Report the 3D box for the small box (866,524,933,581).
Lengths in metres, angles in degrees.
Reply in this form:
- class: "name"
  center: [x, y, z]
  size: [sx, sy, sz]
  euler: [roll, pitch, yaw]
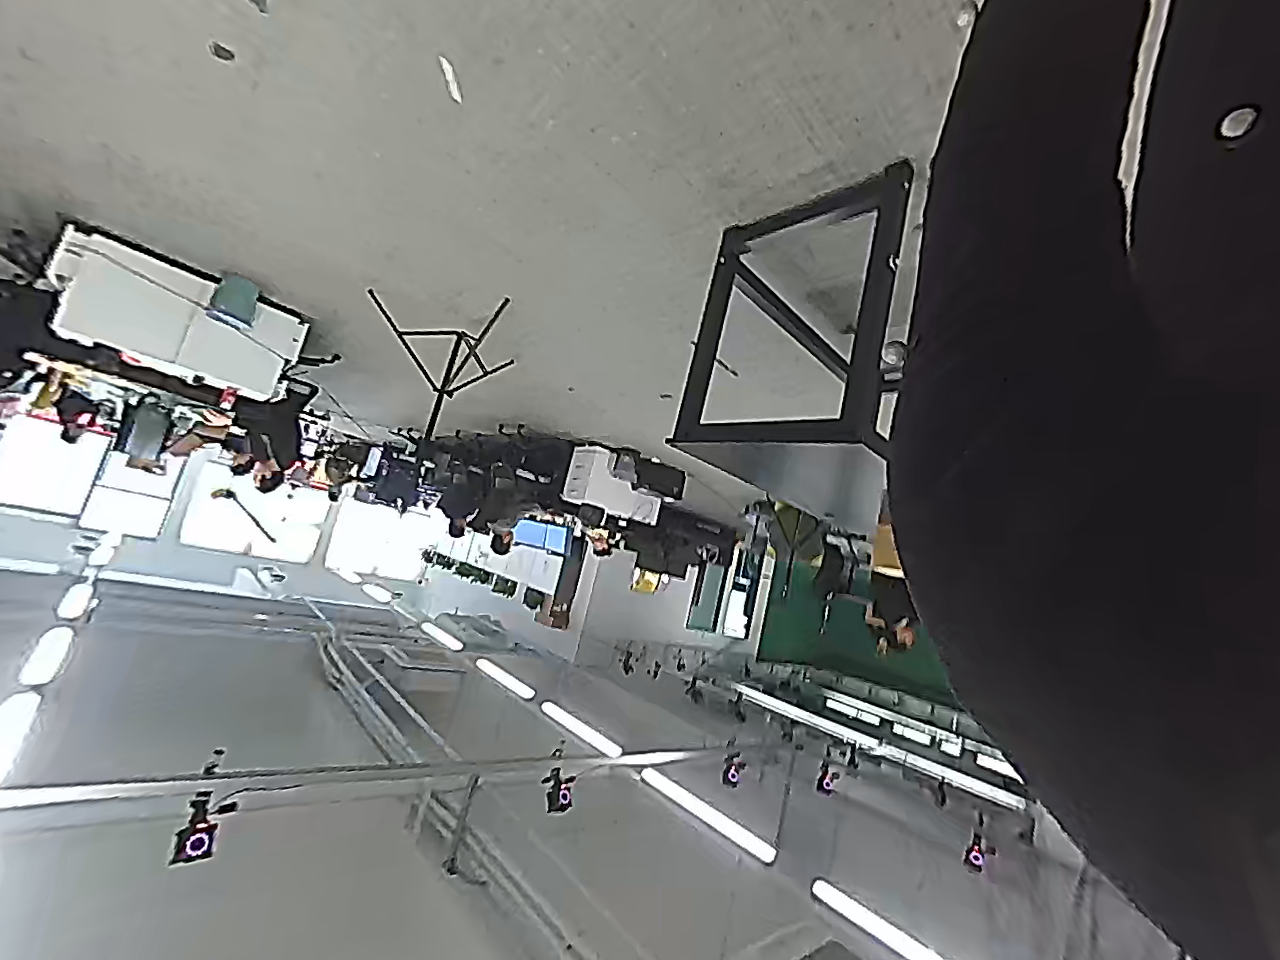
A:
- class: "small box"
  center: [0.973, 0.270, 2.024]
  size: [0.179, 0.176, 0.168]
  euler: [23, 168, -39]
